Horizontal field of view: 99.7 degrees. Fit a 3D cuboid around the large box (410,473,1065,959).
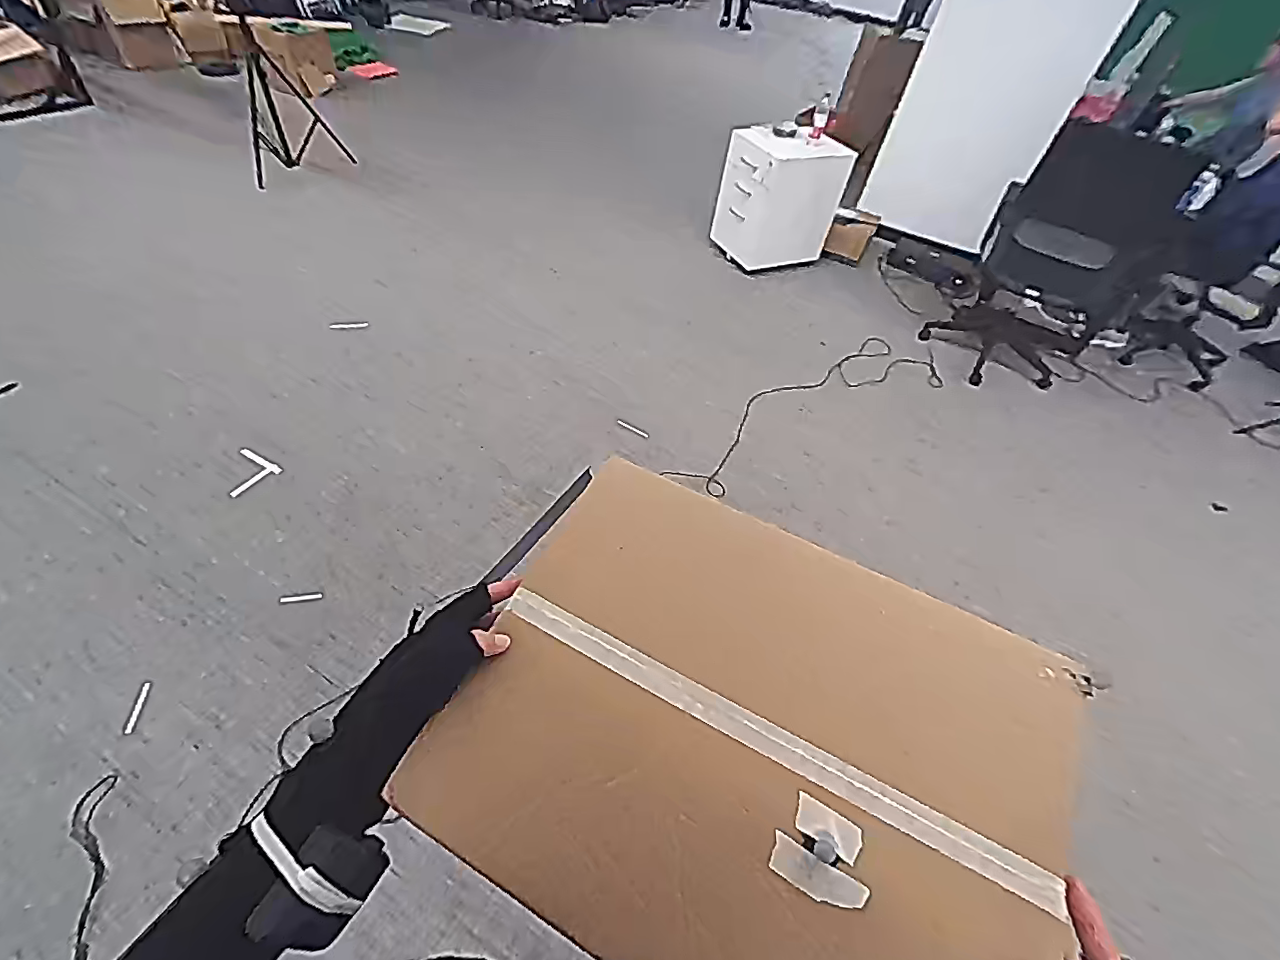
[{"bbox_3d":[0.082,0.260,0.522,0.408,0.320,0.320,25,62,15],"label":"large box"}]
